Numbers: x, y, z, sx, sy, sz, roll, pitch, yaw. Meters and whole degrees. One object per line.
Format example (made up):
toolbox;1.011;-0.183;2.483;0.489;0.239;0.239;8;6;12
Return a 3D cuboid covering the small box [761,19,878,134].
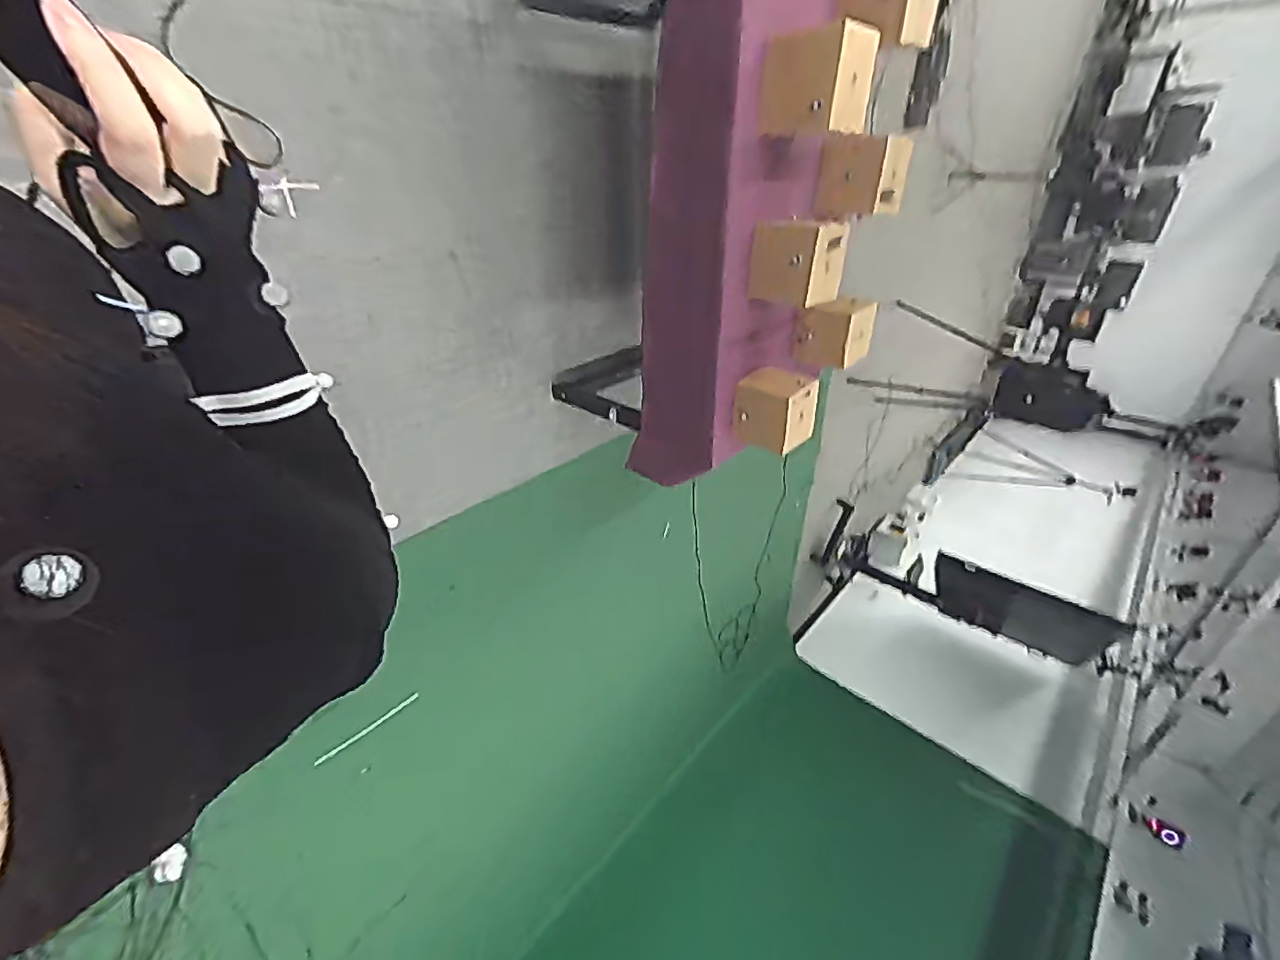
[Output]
small box;0.373;-0.840;1.143;0.168;0.176;0.179;-29;132;-39

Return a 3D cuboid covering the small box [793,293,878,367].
small box;0.587;-0.459;1.631;0.179;0.176;0.168;-32;132;-36

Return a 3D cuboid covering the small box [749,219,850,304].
small box;0.389;-0.545;1.336;0.168;0.176;0.179;-27;131;-40

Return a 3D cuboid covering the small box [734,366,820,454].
small box;0.380;-0.203;1.526;0.168;0.176;0.179;-31;133;-38
